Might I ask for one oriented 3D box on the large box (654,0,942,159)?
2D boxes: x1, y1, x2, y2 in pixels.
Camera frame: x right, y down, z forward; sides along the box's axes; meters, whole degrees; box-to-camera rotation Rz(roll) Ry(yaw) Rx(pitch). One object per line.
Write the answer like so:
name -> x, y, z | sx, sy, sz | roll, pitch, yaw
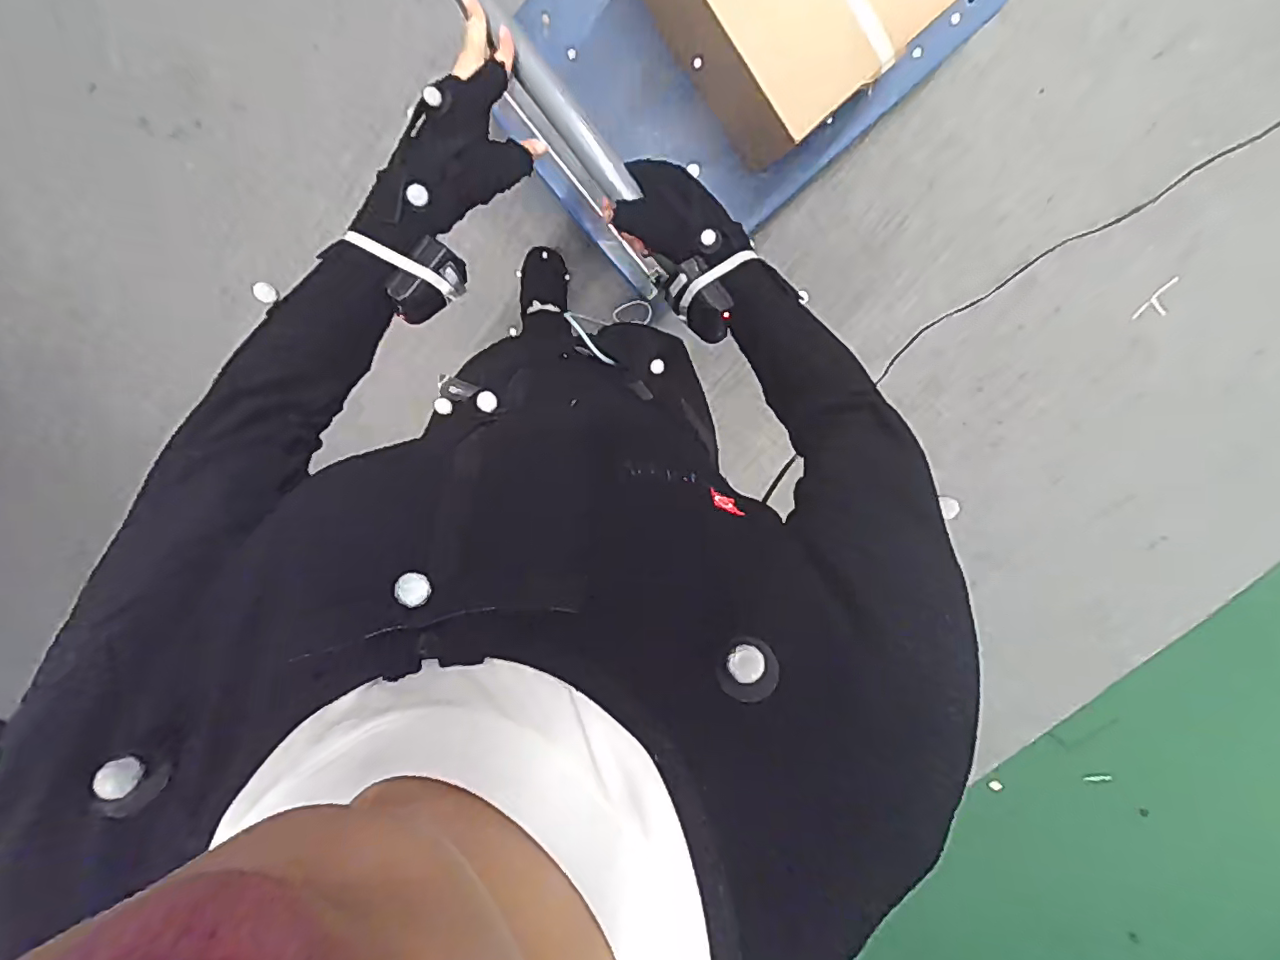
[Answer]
large box -> 0.230, -0.812, 0.856 | 0.320, 0.320, 0.408 | -38, 107, 14
